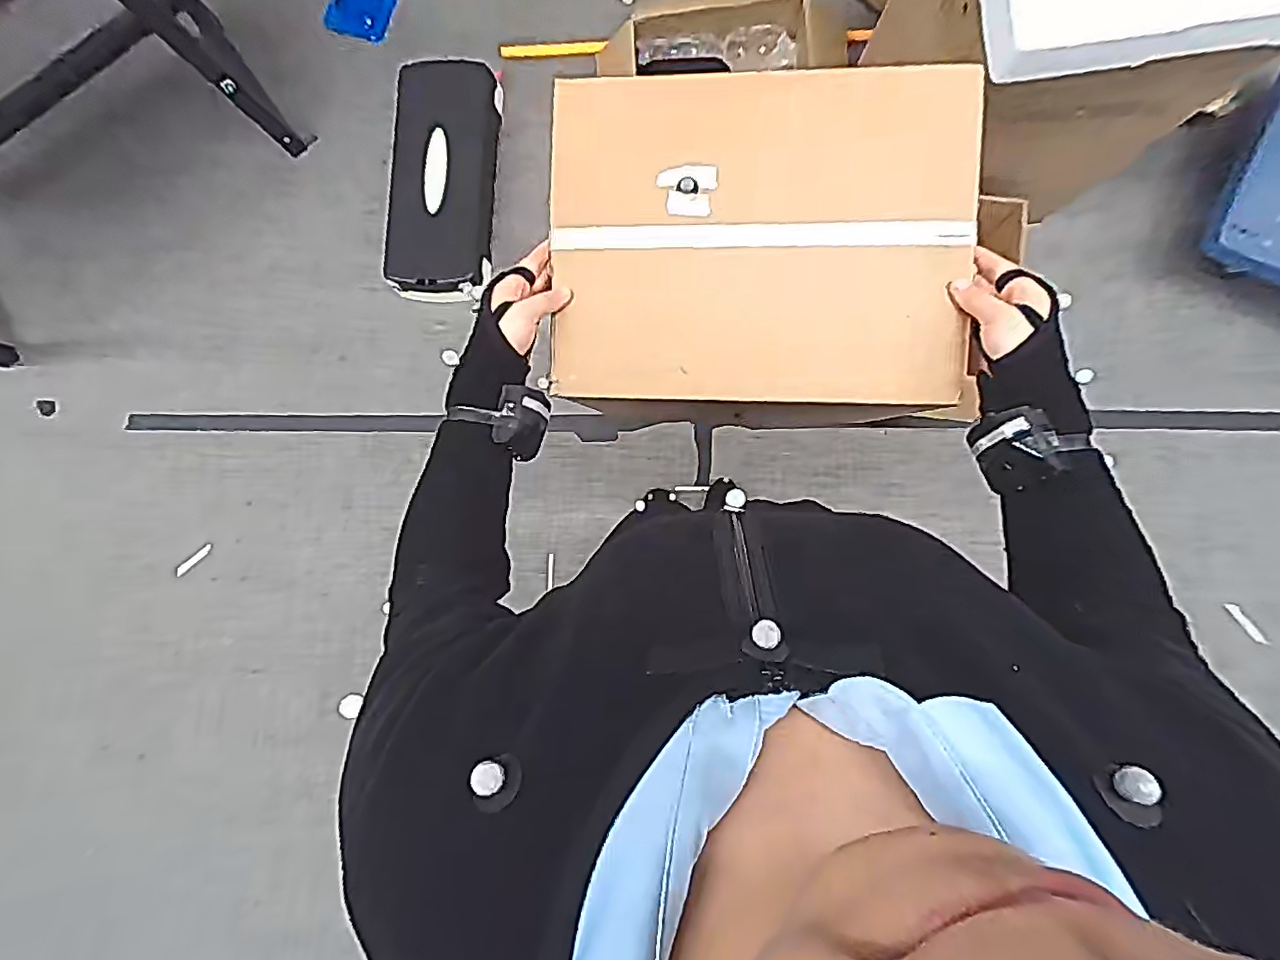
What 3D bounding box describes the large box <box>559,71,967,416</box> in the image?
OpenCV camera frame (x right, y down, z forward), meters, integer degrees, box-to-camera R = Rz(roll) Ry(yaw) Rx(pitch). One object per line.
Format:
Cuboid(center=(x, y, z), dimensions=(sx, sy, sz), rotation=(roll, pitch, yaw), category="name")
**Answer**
Cuboid(center=(0.131, -0.244, 0.687), dimensions=(0.408, 0.320, 0.320), rotation=(1, 92, 6), category="large box")
